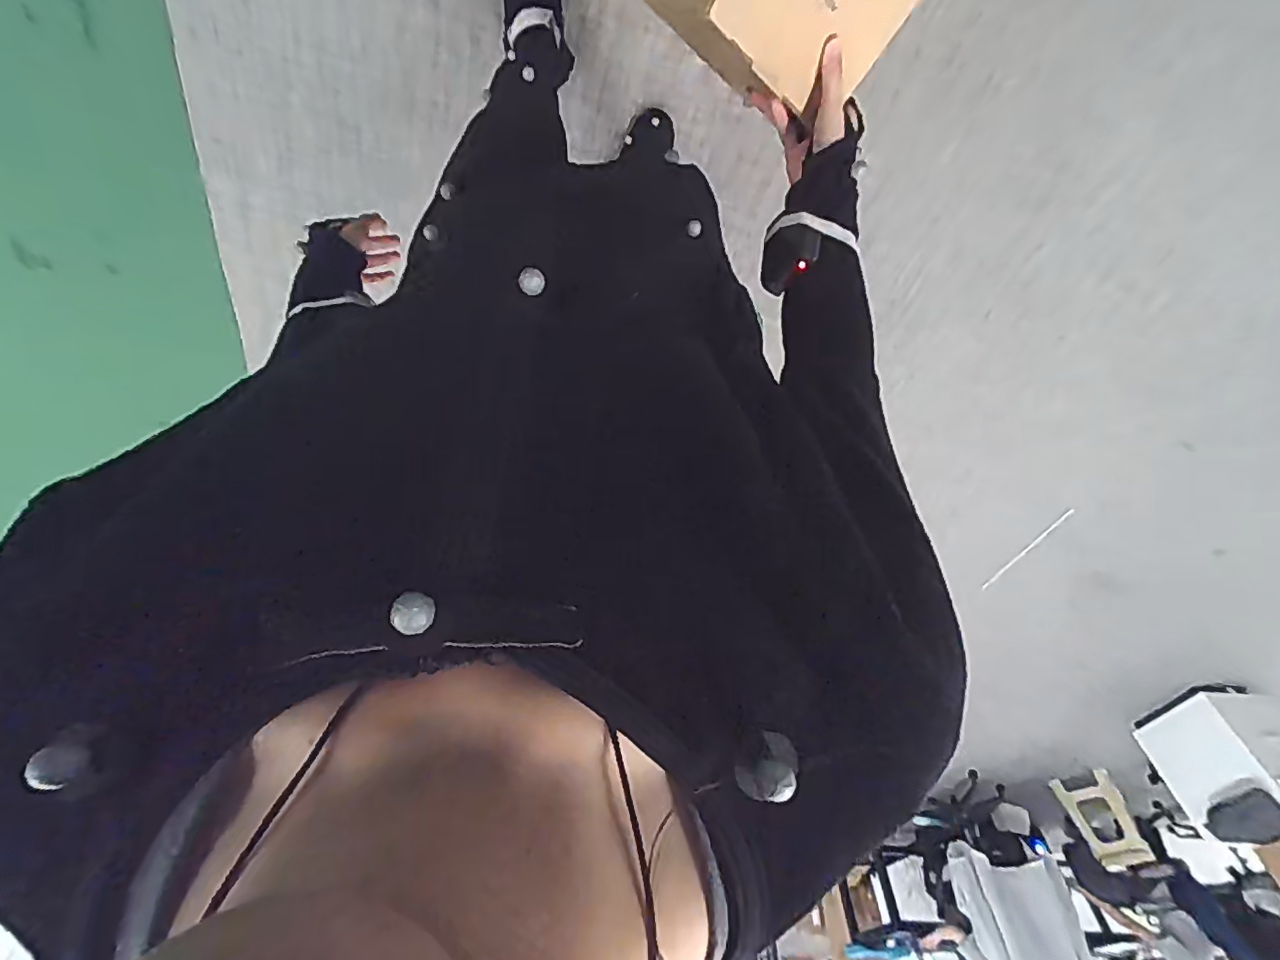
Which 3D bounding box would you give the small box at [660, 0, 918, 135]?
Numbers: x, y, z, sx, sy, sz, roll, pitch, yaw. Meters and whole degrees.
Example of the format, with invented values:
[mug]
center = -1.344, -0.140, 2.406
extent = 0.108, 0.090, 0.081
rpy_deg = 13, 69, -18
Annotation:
[small box]
center = 0.135, -0.472, 0.501
extent = 0.168, 0.176, 0.179
rpy_deg = 19, 123, -37
